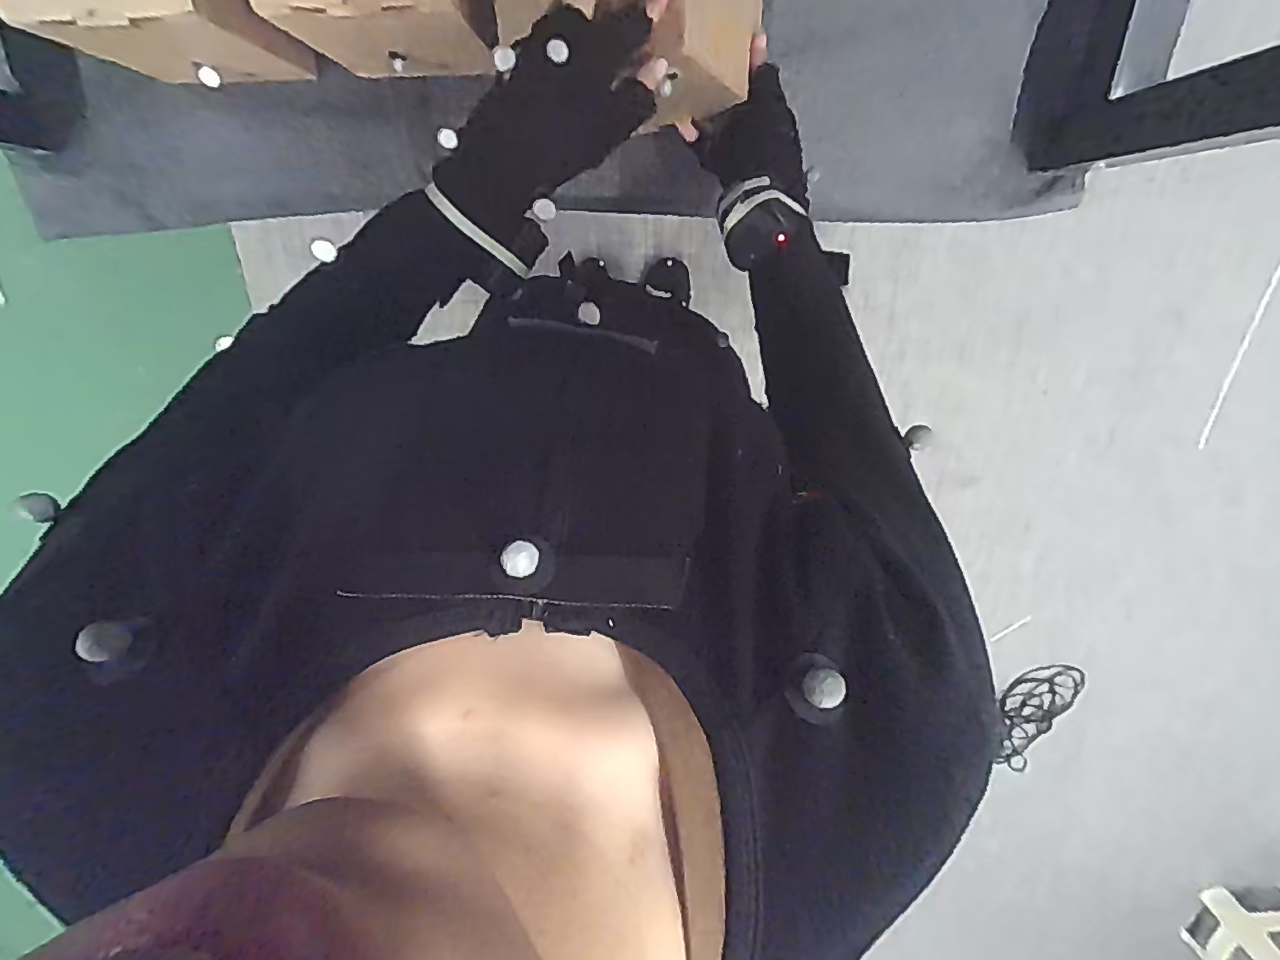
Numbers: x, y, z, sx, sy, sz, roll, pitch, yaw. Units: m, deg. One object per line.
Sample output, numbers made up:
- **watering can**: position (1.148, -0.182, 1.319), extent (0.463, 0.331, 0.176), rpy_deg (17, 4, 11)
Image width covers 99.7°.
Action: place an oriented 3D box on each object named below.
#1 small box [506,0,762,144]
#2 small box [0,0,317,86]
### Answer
- **small box**: position (-0.002, -0.410, 0.450), extent (0.168, 0.176, 0.179), rpy_deg (7, 112, 28)
- **small box**: position (-0.426, -0.478, 0.478), extent (0.168, 0.176, 0.179), rpy_deg (0, 112, 2)
